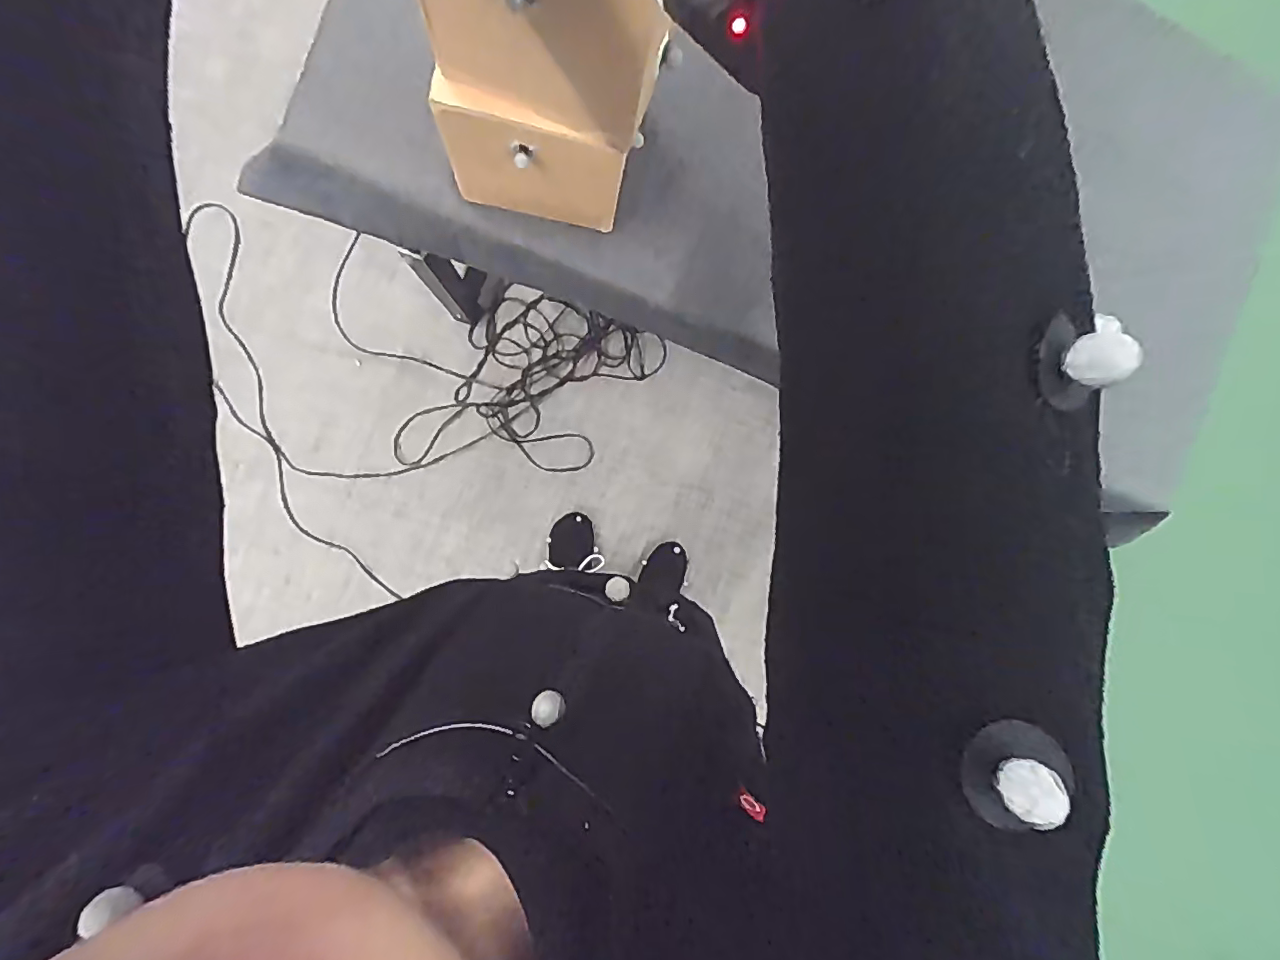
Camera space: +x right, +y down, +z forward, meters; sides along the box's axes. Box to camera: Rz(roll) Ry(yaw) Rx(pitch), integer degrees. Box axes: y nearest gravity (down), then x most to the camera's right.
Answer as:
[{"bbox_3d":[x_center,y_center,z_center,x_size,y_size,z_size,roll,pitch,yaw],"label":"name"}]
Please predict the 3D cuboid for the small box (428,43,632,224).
[{"bbox_3d":[-0.092,-0.388,0.550,0.179,0.176,0.168,10,89,-7],"label":"small box"}]

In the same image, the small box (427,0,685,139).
[{"bbox_3d":[-0.053,-0.393,0.391,0.179,0.176,0.168,19,89,-8],"label":"small box"}]
